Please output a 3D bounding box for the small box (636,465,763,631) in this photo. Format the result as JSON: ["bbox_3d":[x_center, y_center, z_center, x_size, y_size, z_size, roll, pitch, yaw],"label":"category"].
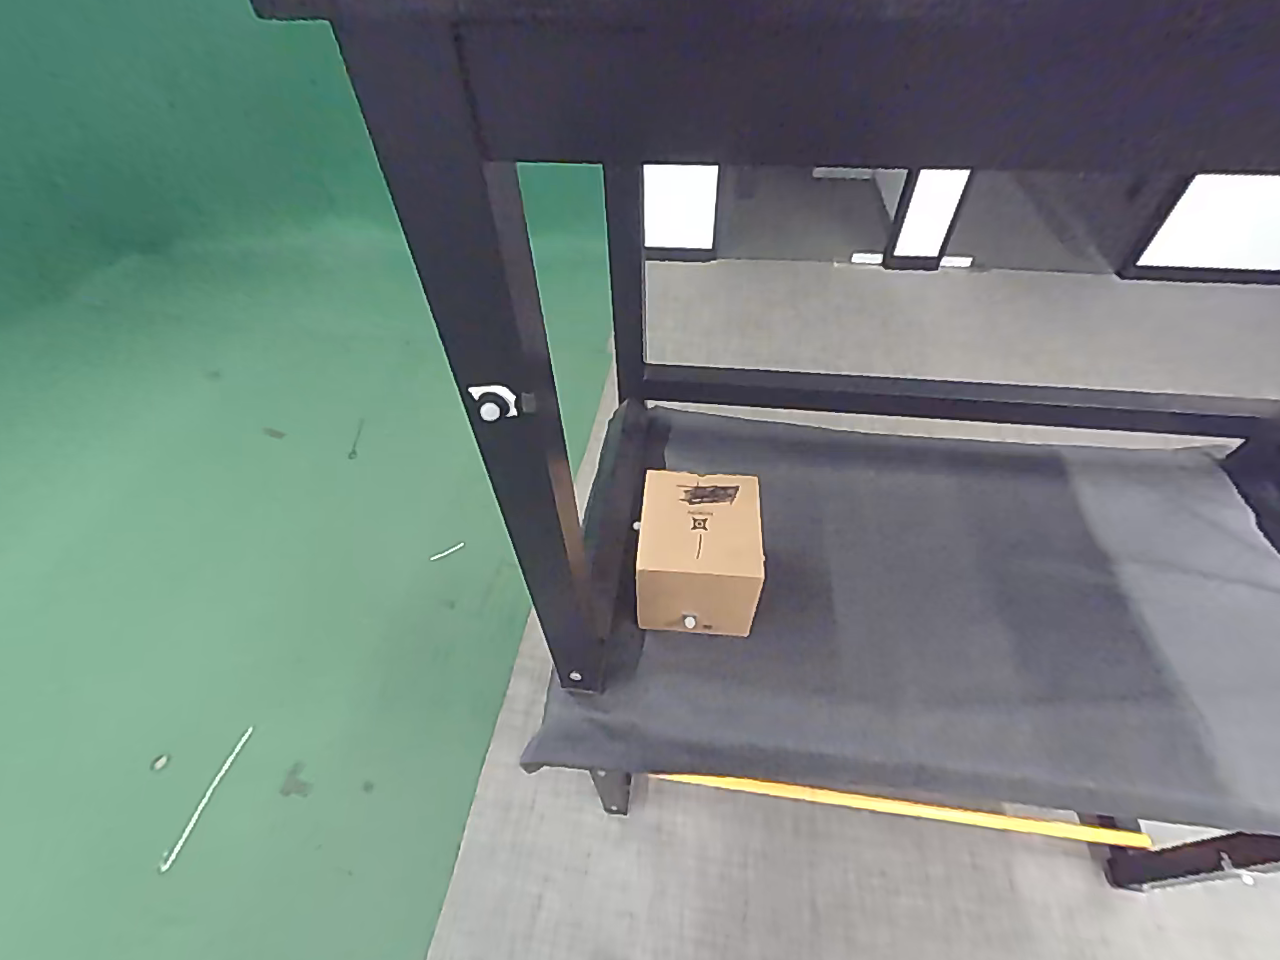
[{"bbox_3d":[0.084,0.100,0.800,0.168,0.176,0.179,3,49,5],"label":"small box"}]
